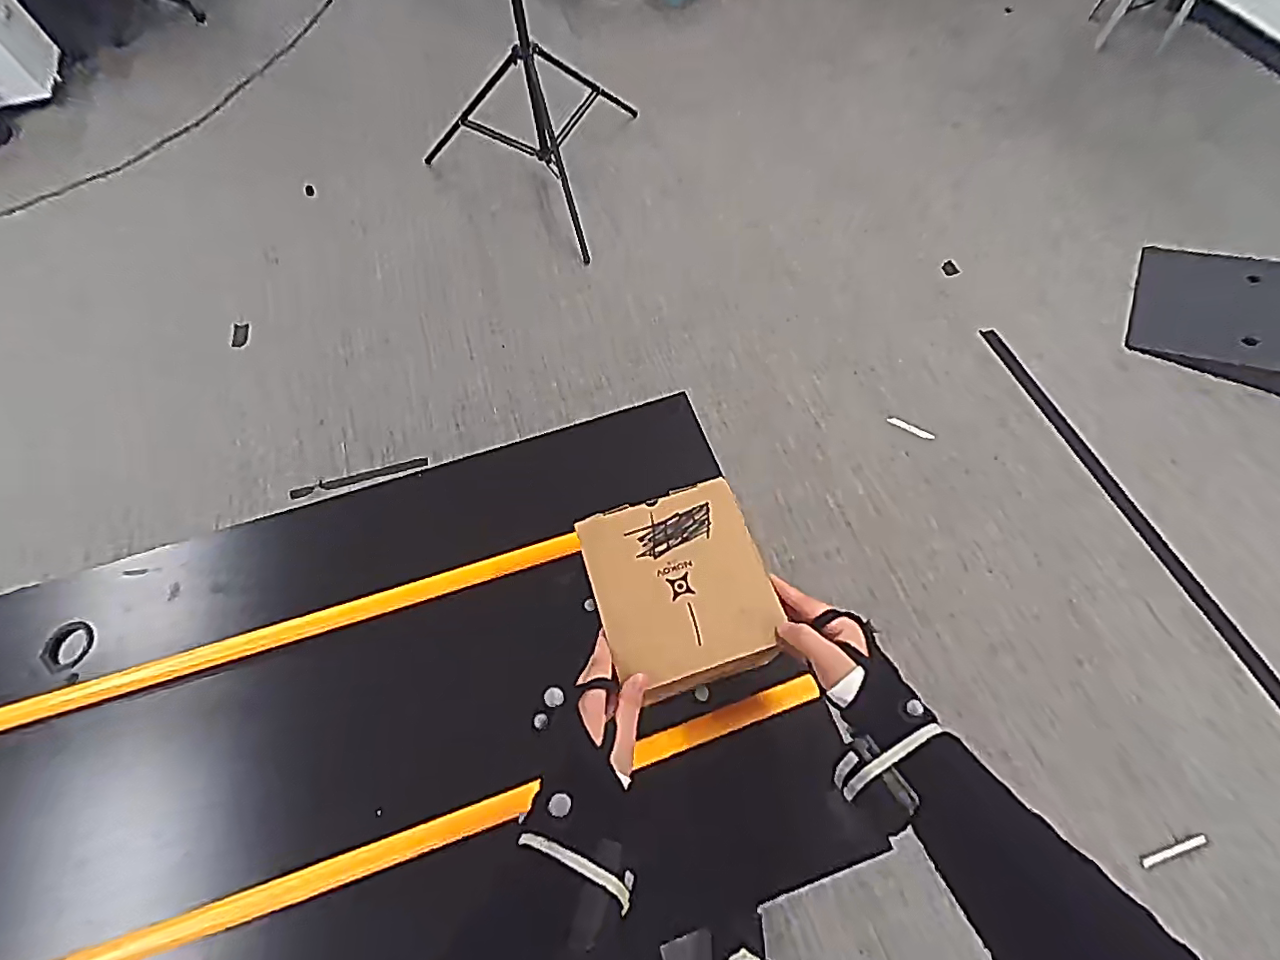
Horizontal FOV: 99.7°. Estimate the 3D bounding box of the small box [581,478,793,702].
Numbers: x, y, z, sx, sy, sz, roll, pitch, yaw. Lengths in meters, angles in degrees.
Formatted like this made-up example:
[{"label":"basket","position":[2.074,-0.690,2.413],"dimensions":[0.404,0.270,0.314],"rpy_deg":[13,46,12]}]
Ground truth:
[{"label":"small box","position":[0.042,0.128,0.594],"dimensions":[0.168,0.176,0.179],"rpy_deg":[-17,65,-5]}]
